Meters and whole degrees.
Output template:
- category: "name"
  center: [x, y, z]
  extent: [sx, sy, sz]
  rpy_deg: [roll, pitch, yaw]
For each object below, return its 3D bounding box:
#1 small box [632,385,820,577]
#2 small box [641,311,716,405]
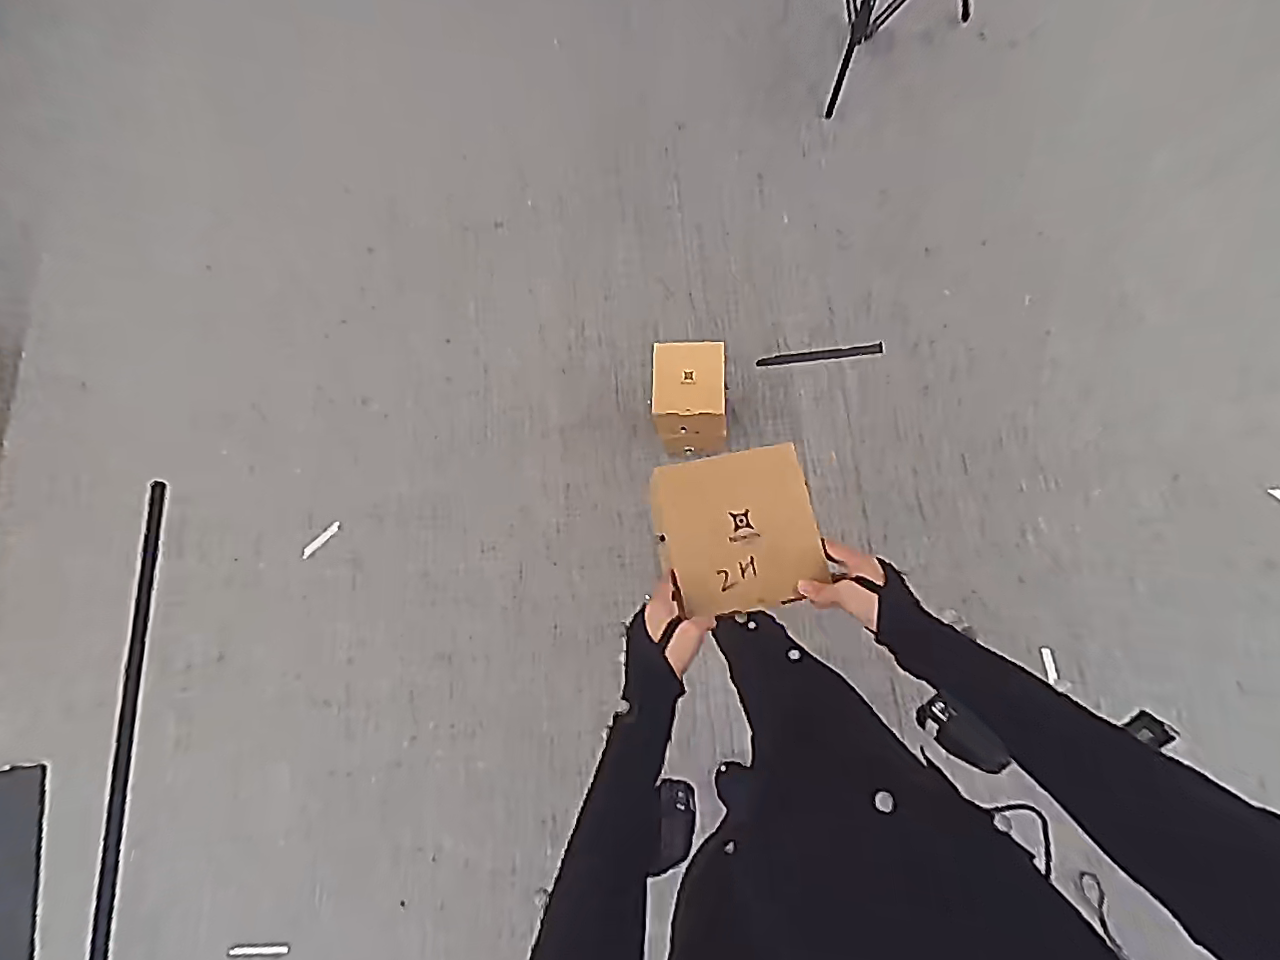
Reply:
- category: "small box"
  center: [0.085, 0.010, 0.639]
  extent: [0.168, 0.176, 0.179]
  rpy_deg: [-11, 77, -4]
- category: "small box"
  center: [0.090, -0.277, 1.269]
  extent: [0.168, 0.176, 0.179]
  rpy_deg: [0, 79, 5]
